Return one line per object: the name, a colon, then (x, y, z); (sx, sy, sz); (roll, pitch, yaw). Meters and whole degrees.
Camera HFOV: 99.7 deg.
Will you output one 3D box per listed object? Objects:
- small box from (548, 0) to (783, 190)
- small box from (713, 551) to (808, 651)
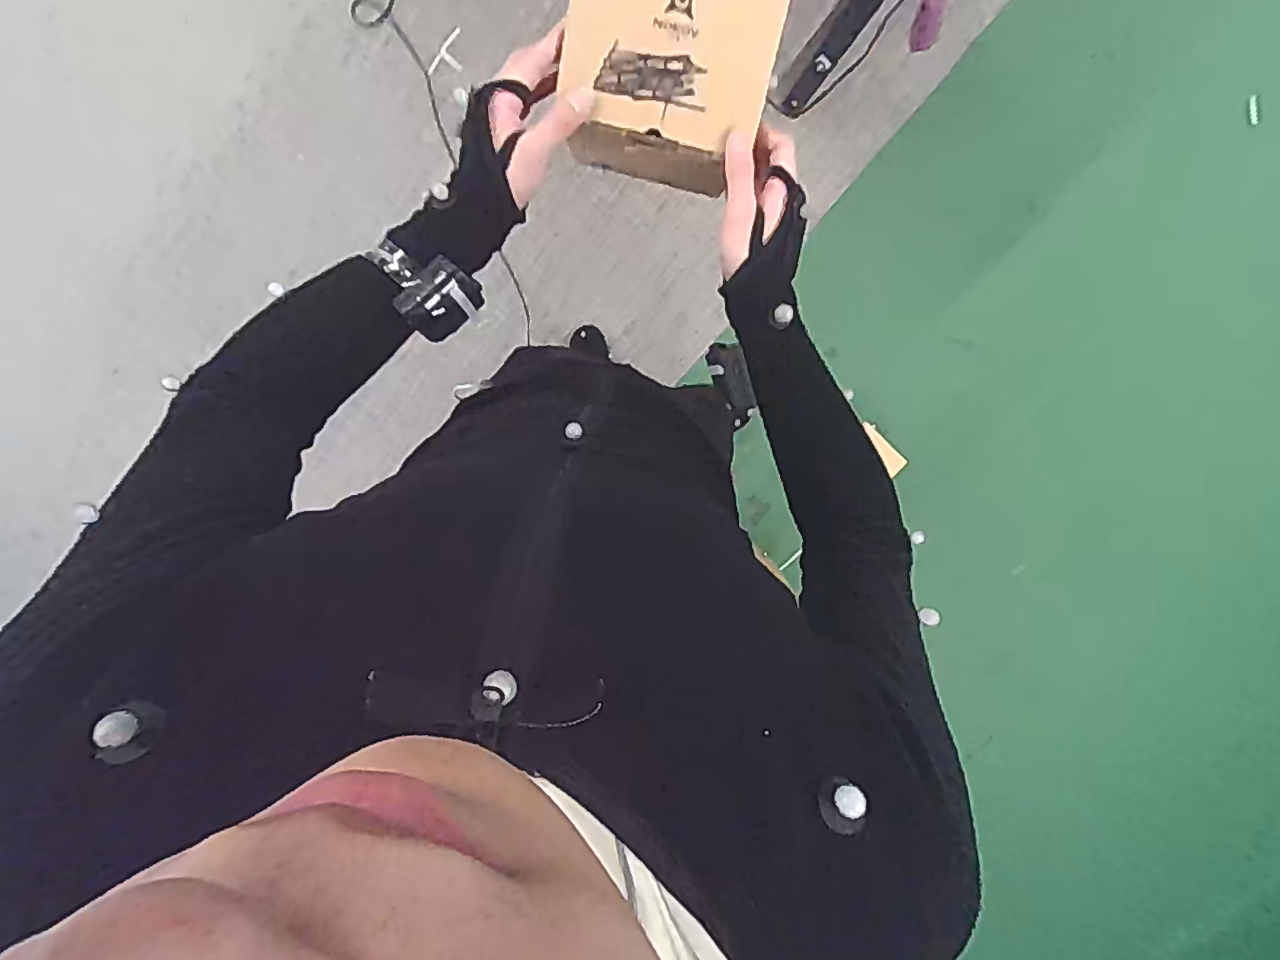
small box: (0.023, -0.381, 0.484); (0.168, 0.176, 0.179); (11, 108, -5)
small box: (0.325, 0.327, 1.495); (0.179, 0.176, 0.168); (41, 100, -12)
